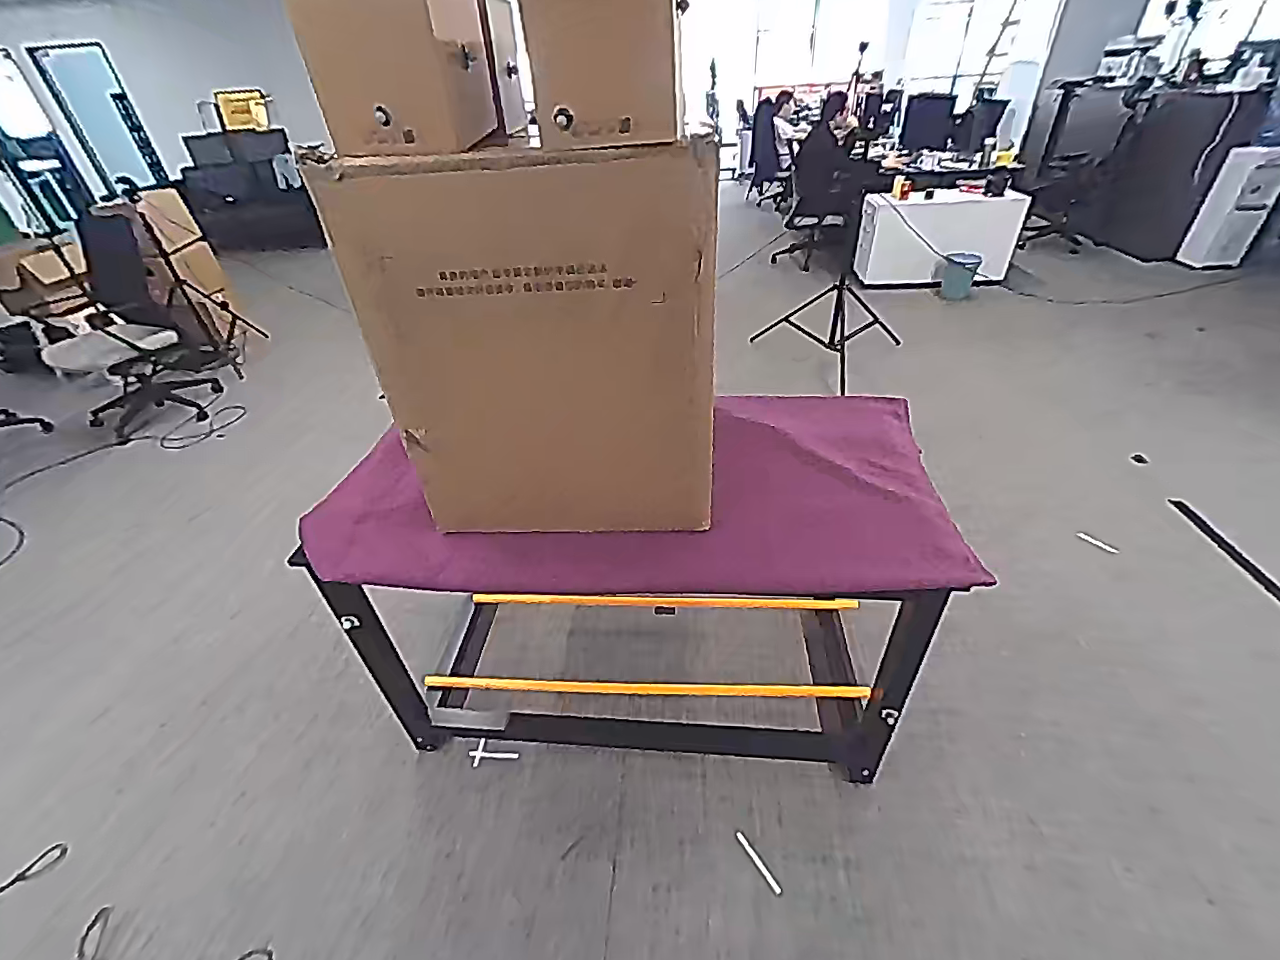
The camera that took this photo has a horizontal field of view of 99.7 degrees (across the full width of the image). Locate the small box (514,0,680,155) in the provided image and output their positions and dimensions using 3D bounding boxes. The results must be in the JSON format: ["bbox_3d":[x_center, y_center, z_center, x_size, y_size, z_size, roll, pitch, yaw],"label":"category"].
[{"bbox_3d":[-0.038,-0.501,0.654,0.168,0.176,0.179,-1,39,6],"label":"small box"}]
